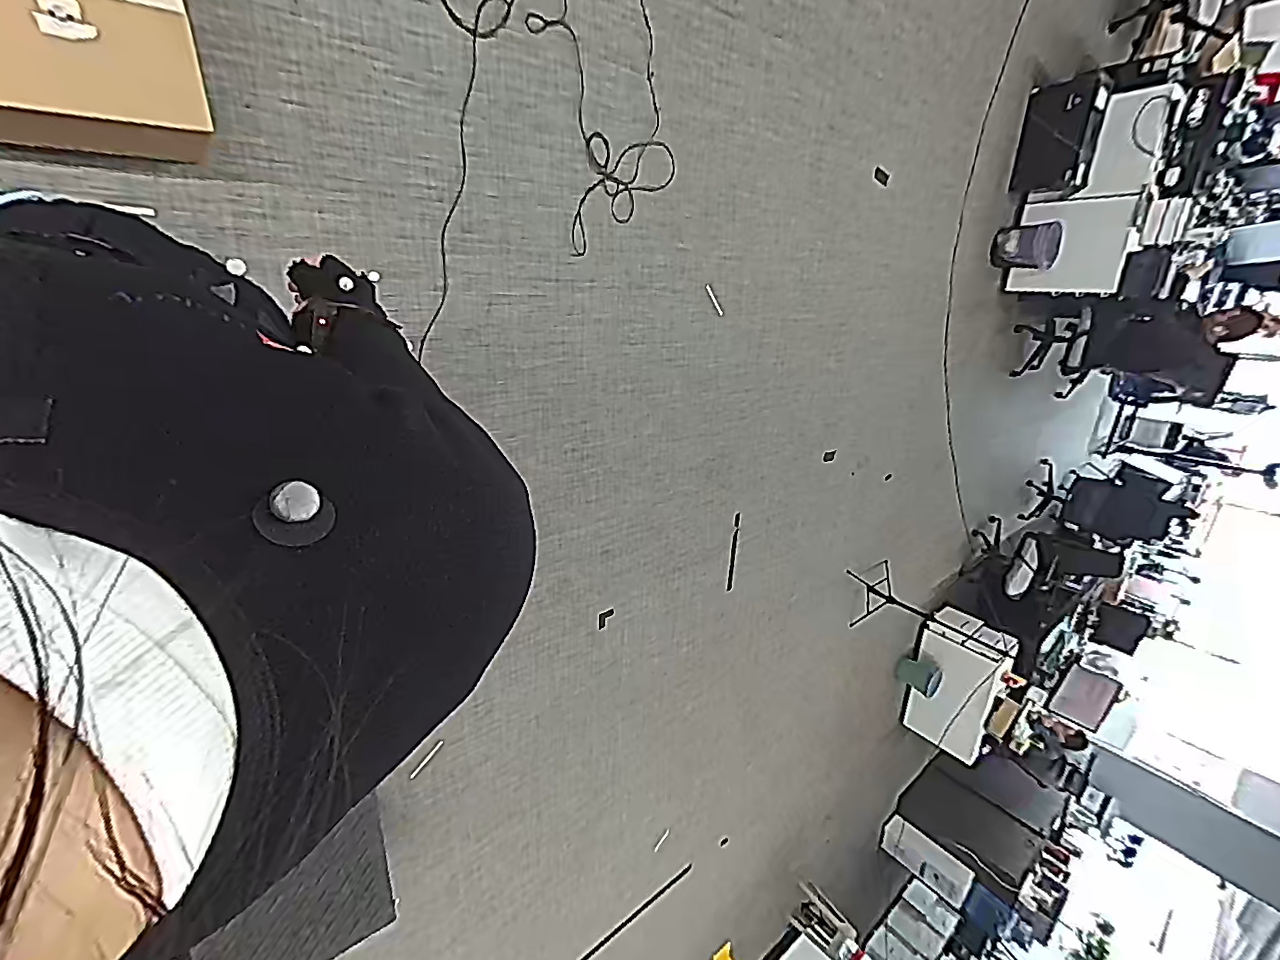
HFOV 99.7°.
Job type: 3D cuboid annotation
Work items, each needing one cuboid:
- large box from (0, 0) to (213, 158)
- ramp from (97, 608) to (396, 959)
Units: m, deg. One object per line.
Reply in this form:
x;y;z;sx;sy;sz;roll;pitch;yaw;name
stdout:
-0.908;-0.678;0.771;0.408;0.320;0.320;-16;117;-37;large box
-0.957;0.865;1.396;0.509;0.206;0.991;-13;113;-36;ramp
